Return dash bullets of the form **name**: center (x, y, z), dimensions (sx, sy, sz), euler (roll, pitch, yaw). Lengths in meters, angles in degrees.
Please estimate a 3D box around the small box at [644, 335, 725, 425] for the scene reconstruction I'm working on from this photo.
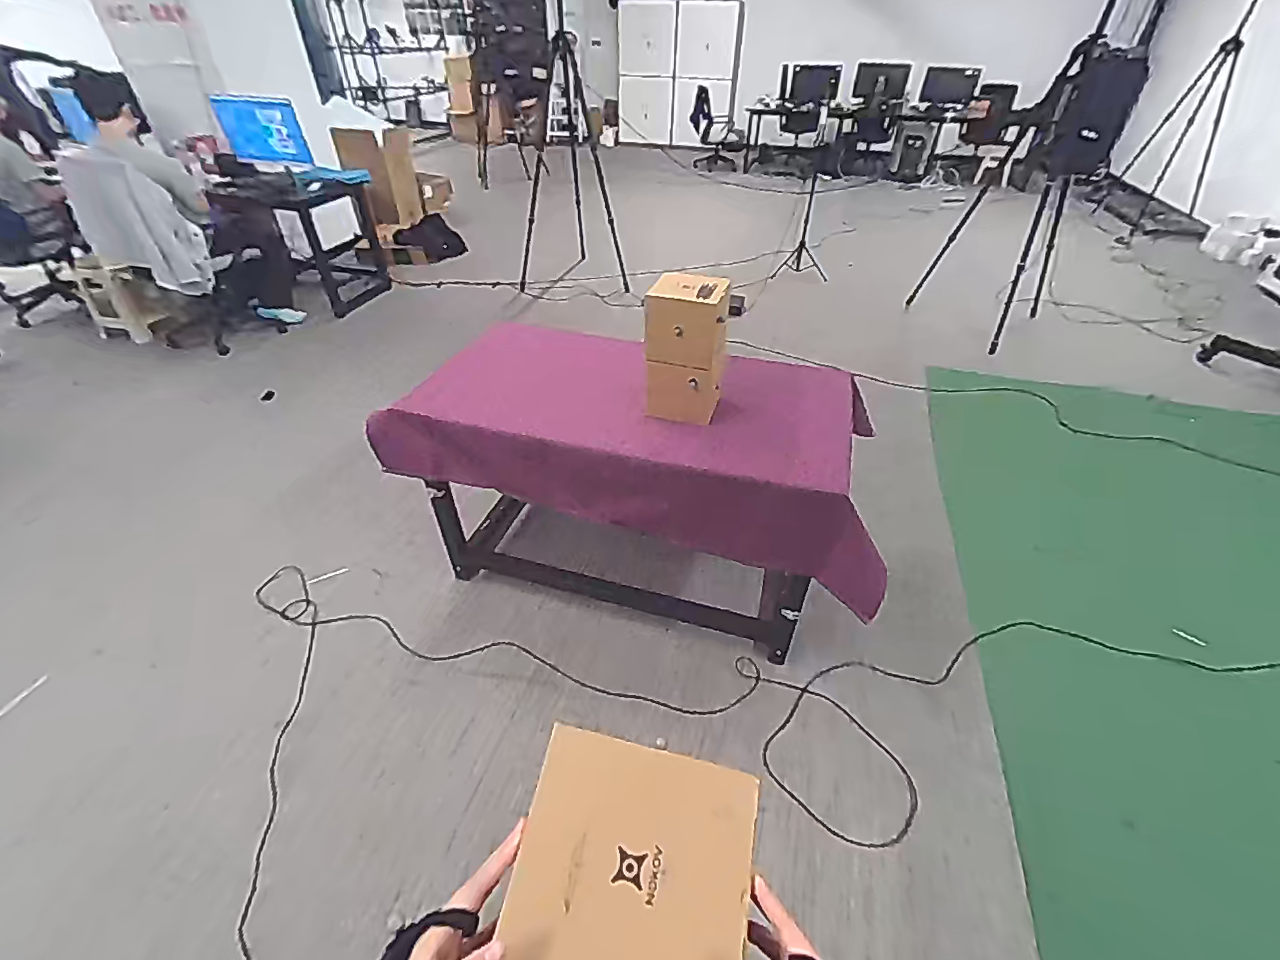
- **small box**: center (0.118, -0.266, 1.446), dimensions (0.179, 0.176, 0.168), euler (12, 41, 14)

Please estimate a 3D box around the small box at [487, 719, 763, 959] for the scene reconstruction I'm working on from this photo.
- **small box**: center (-0.007, 0.328, 0.469), dimensions (0.179, 0.176, 0.168), euler (13, 56, 5)
